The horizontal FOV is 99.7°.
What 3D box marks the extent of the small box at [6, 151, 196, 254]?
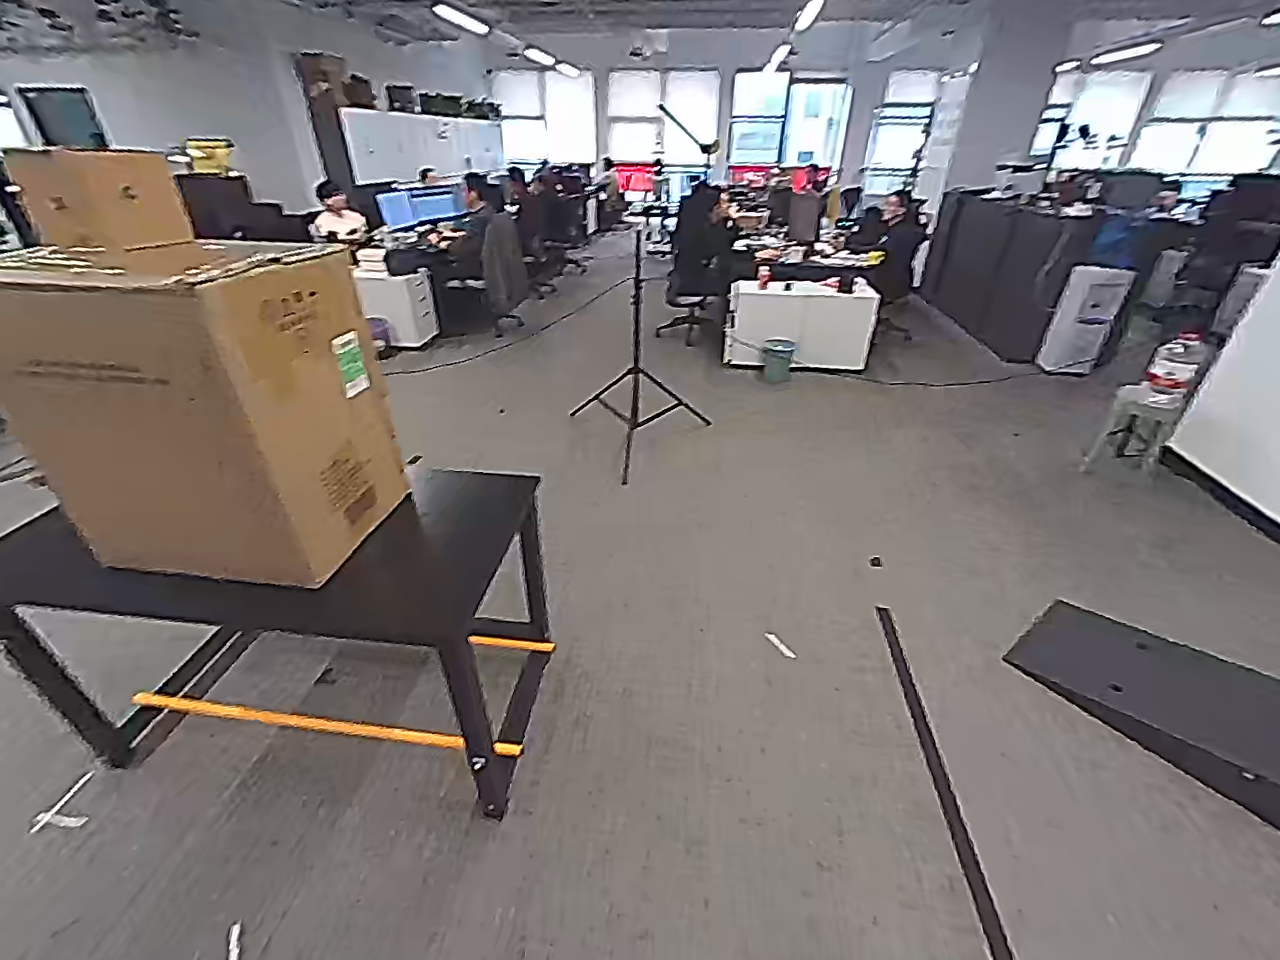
[{"bbox_3d":[-1.036,-0.546,1.061,0.168,0.176,0.179,6,31,7],"label":"small box"}]
